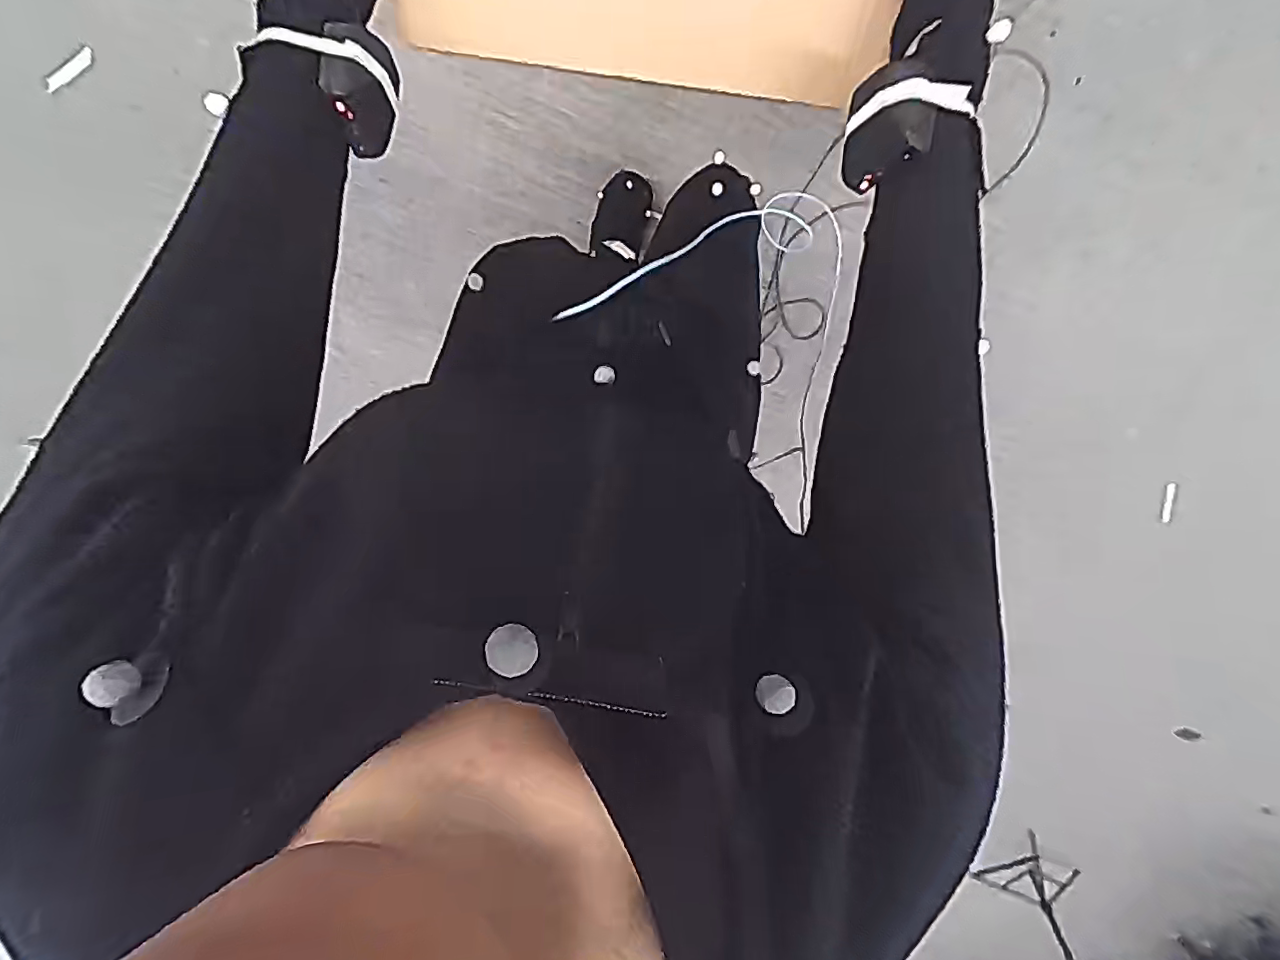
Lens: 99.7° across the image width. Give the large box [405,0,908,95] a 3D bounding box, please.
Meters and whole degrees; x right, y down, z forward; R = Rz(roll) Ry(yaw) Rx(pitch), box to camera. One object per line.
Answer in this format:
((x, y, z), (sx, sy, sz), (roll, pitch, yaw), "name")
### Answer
((0.025, -0.553, 0.479), (0.408, 0.320, 0.320), (6, 128, -2), "large box")
